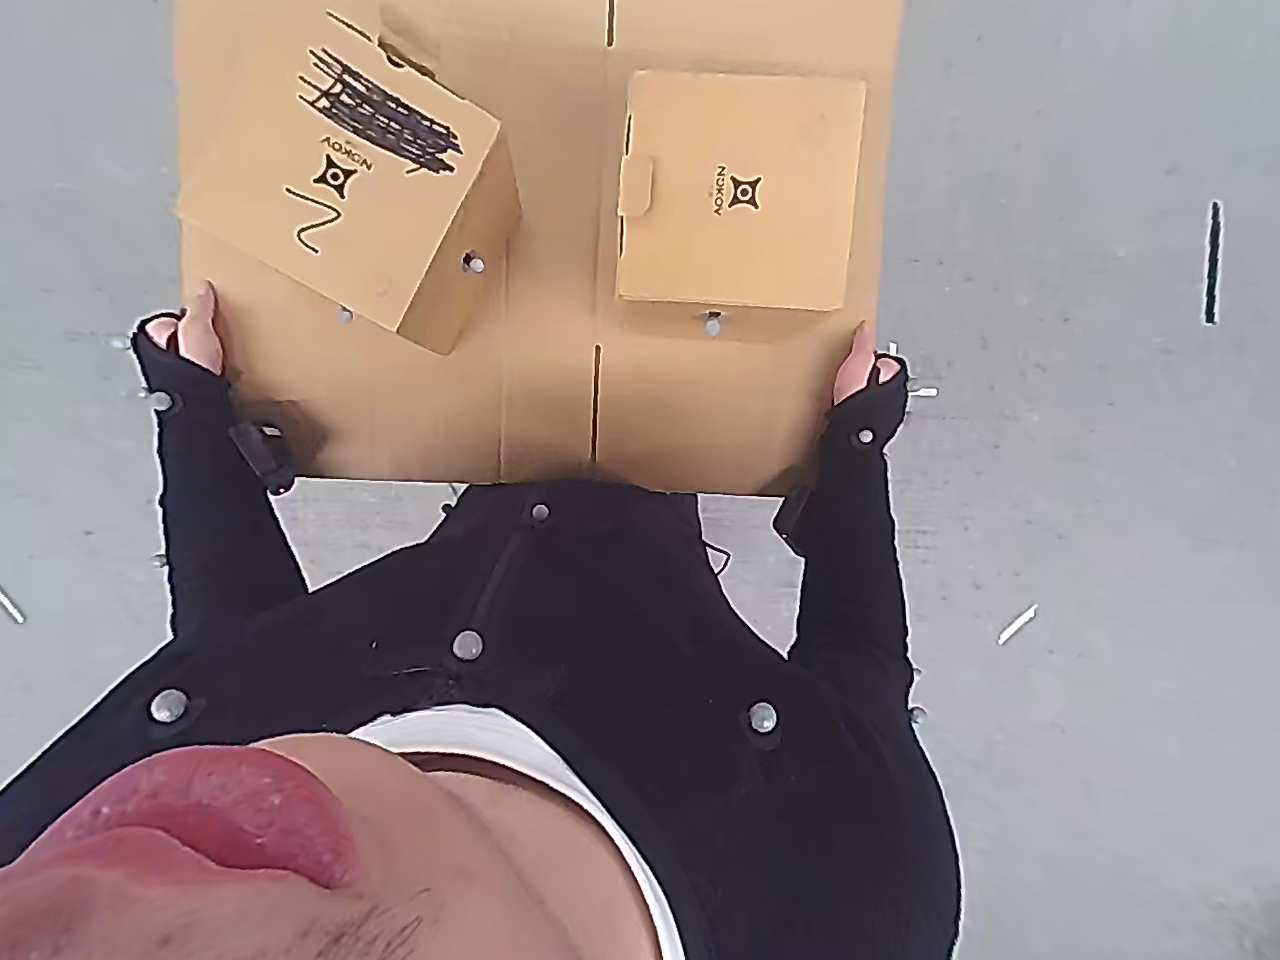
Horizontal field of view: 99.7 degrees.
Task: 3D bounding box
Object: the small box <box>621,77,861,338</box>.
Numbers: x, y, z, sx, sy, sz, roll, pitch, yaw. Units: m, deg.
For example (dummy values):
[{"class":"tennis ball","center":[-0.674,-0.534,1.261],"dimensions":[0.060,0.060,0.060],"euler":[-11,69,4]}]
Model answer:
[{"class":"small box","center":[0.079,-0.229,0.499],"dimensions":[0.179,0.176,0.168],"euler":[4,95,2]}]
